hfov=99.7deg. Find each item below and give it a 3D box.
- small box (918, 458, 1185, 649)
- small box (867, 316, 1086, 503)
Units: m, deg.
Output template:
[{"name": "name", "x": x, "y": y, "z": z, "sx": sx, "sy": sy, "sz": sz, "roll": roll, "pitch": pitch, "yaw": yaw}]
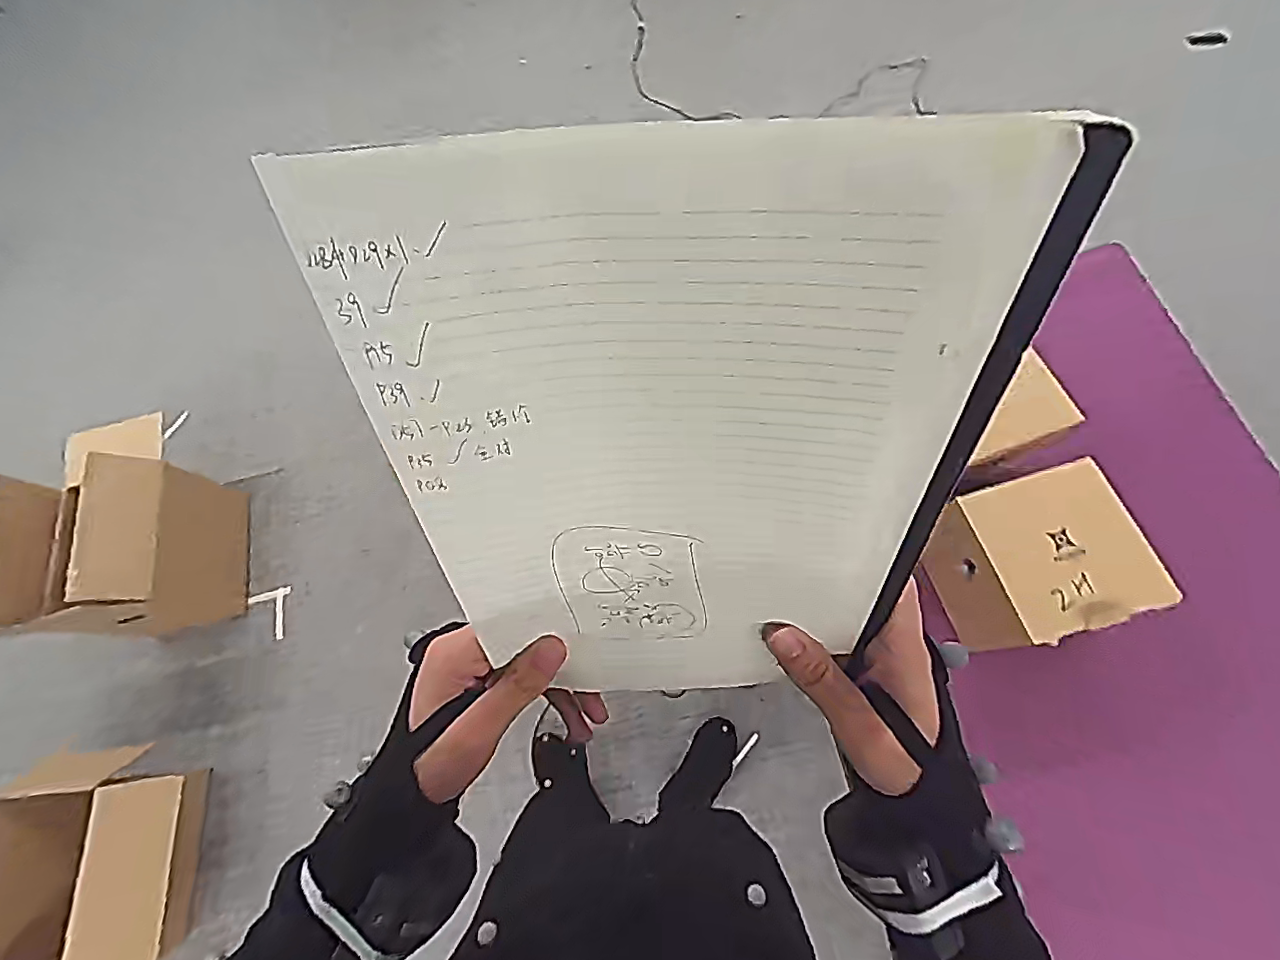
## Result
[{"name": "small box", "x": 0.480, "y": 0.100, "z": 0.670, "sx": 0.168, "sy": 0.176, "sz": 0.179, "roll": -17, "pitch": 70, "yaw": 2}, {"name": "small box", "x": 0.437, "y": -0.086, "z": 0.745, "sx": 0.179, "sy": 0.176, "sz": 0.168, "roll": -20, "pitch": 70, "yaw": 0}]
